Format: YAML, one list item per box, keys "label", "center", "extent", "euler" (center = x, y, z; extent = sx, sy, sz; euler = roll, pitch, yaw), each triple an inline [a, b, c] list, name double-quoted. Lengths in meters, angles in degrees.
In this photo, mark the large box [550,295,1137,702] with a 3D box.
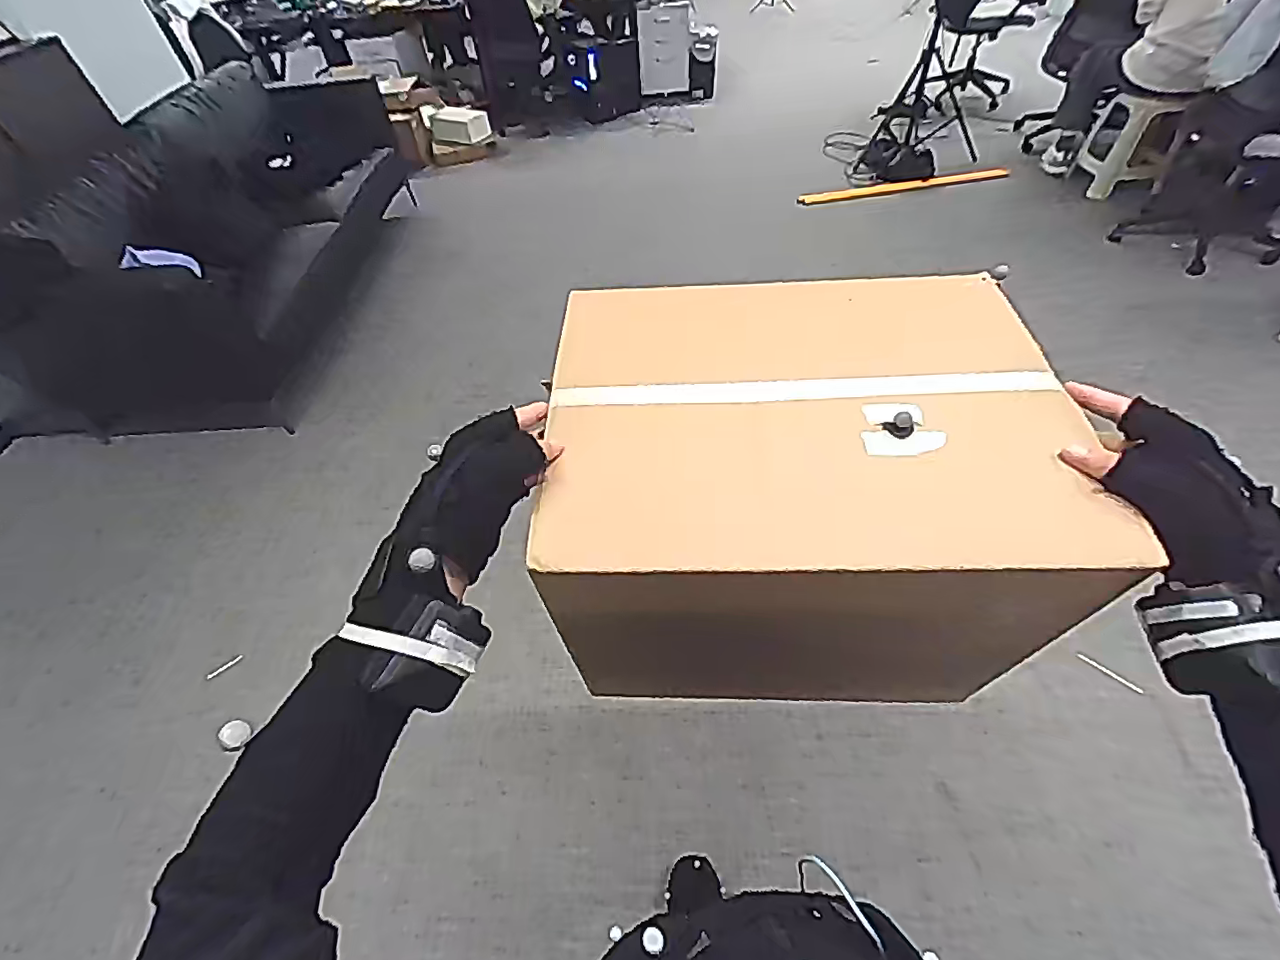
- label: "large box"
  center: [0.141, 0.032, 0.572]
  extent: [0.408, 0.320, 0.320]
  euler: [-1, 53, 3]
